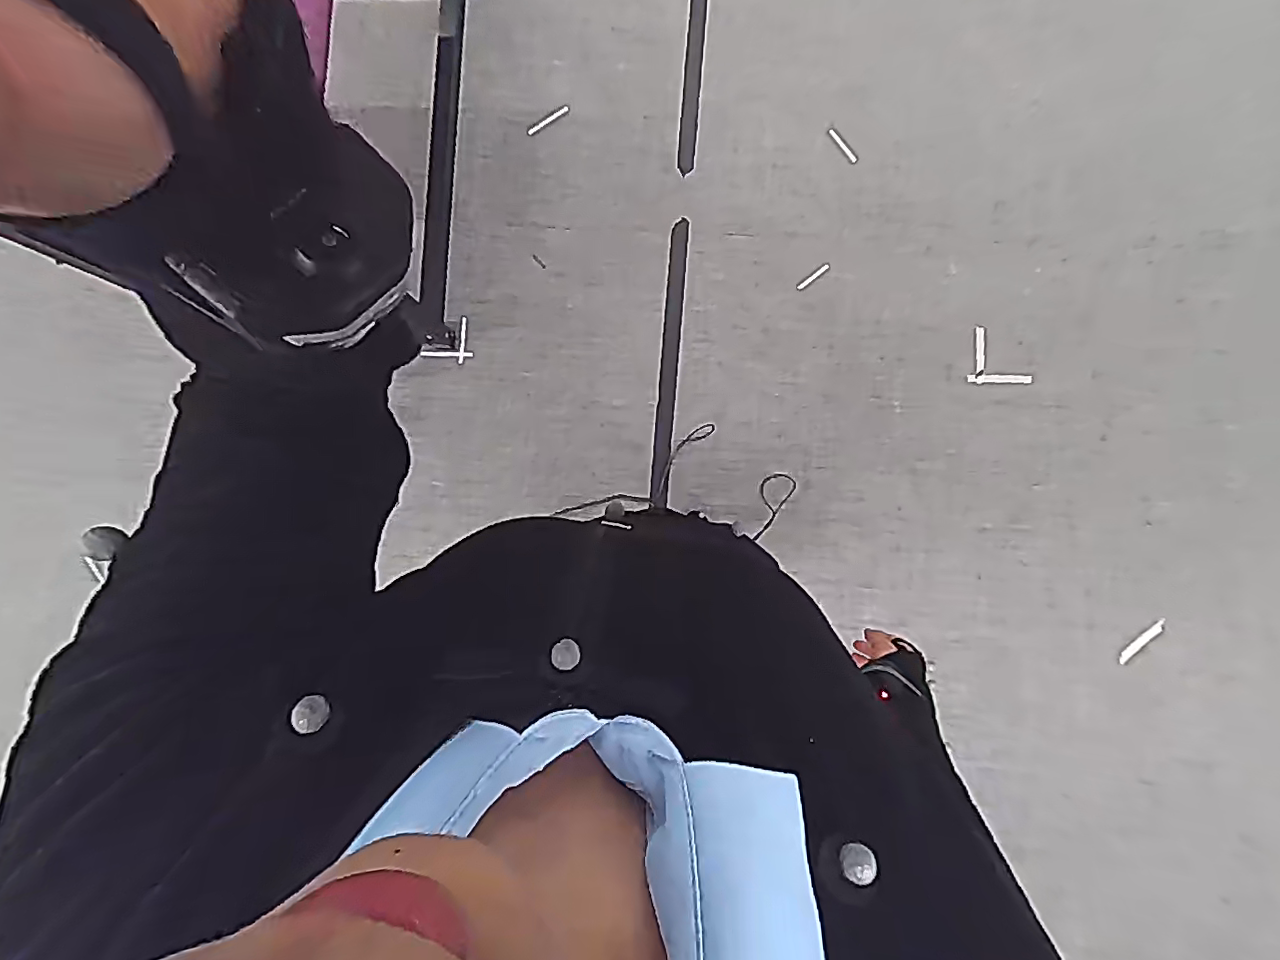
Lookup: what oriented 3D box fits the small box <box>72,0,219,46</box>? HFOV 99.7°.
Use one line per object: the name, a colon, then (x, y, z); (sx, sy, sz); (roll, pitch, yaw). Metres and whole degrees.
small box: (-0.750, -0.779, 0.786); (0.168, 0.176, 0.179); (4, 86, 2)
